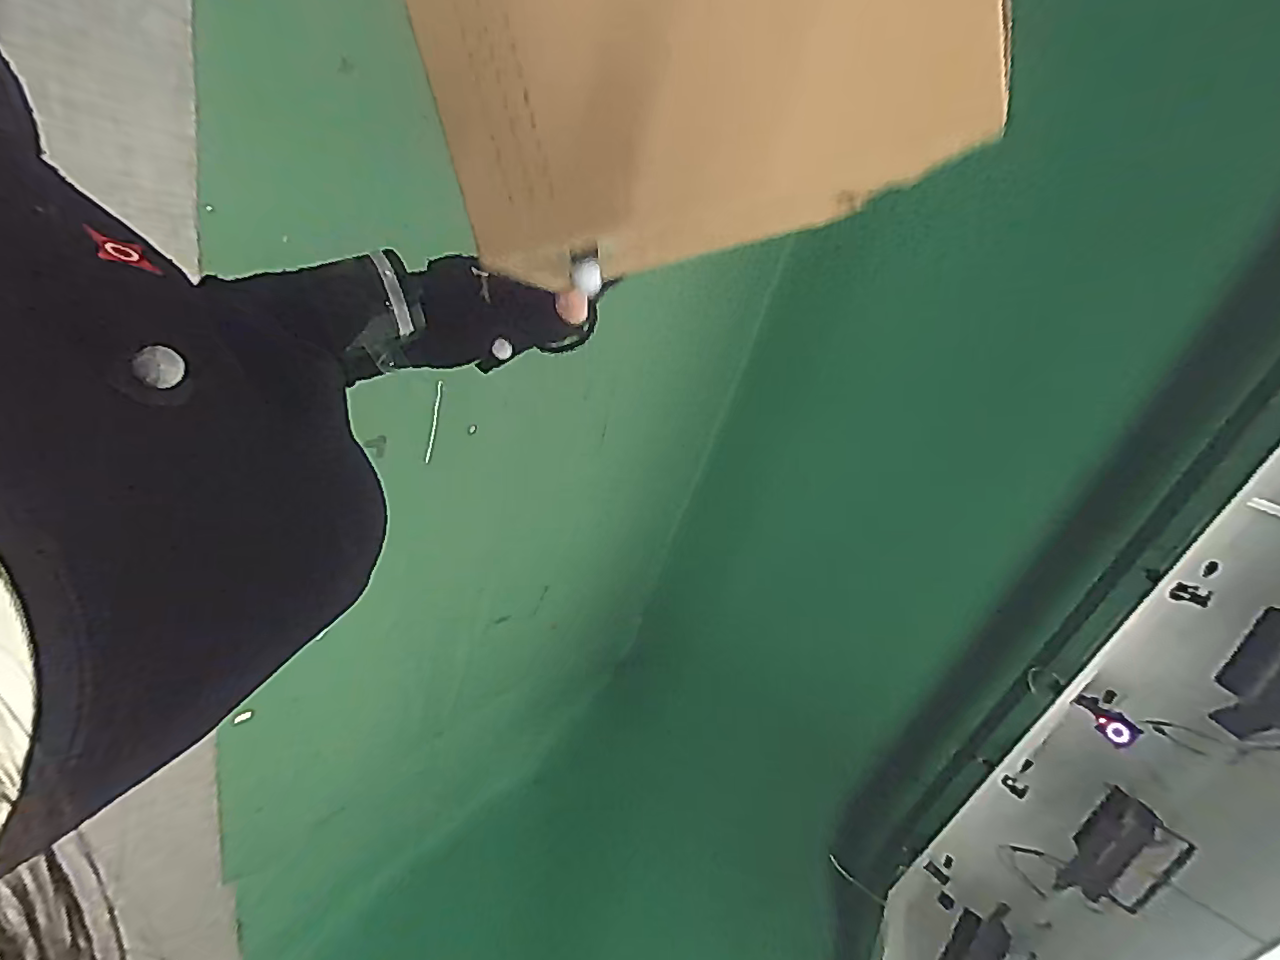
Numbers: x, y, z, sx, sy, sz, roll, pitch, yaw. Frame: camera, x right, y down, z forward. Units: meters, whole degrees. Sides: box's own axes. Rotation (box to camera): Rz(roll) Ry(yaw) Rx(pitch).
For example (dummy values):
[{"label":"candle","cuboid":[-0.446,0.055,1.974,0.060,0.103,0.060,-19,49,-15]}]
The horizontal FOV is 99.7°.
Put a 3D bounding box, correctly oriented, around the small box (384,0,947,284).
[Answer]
[{"label":"small box","cuboid":[-0.003,-0.193,0.229,0.168,0.176,0.179,-95,171,-74]}]
